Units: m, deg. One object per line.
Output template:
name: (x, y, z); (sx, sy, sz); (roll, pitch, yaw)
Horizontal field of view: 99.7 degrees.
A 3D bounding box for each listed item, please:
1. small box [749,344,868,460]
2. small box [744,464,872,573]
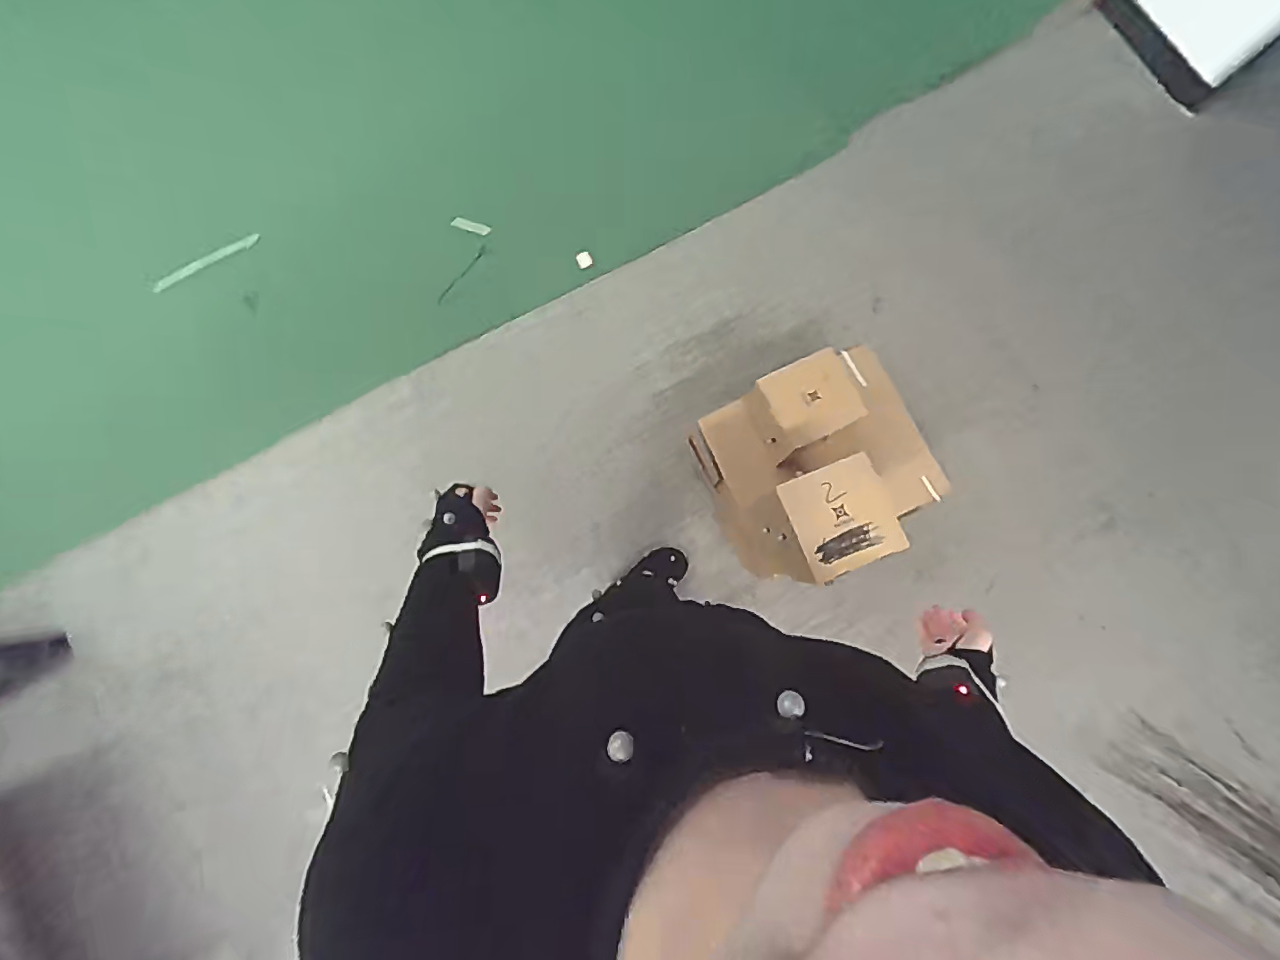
small box: (0.347, -0.158, 1.162); (0.179, 0.176, 0.168); (-24, 81, -4)
small box: (0.338, 0.083, 1.121); (0.179, 0.176, 0.168); (-22, 81, -3)
